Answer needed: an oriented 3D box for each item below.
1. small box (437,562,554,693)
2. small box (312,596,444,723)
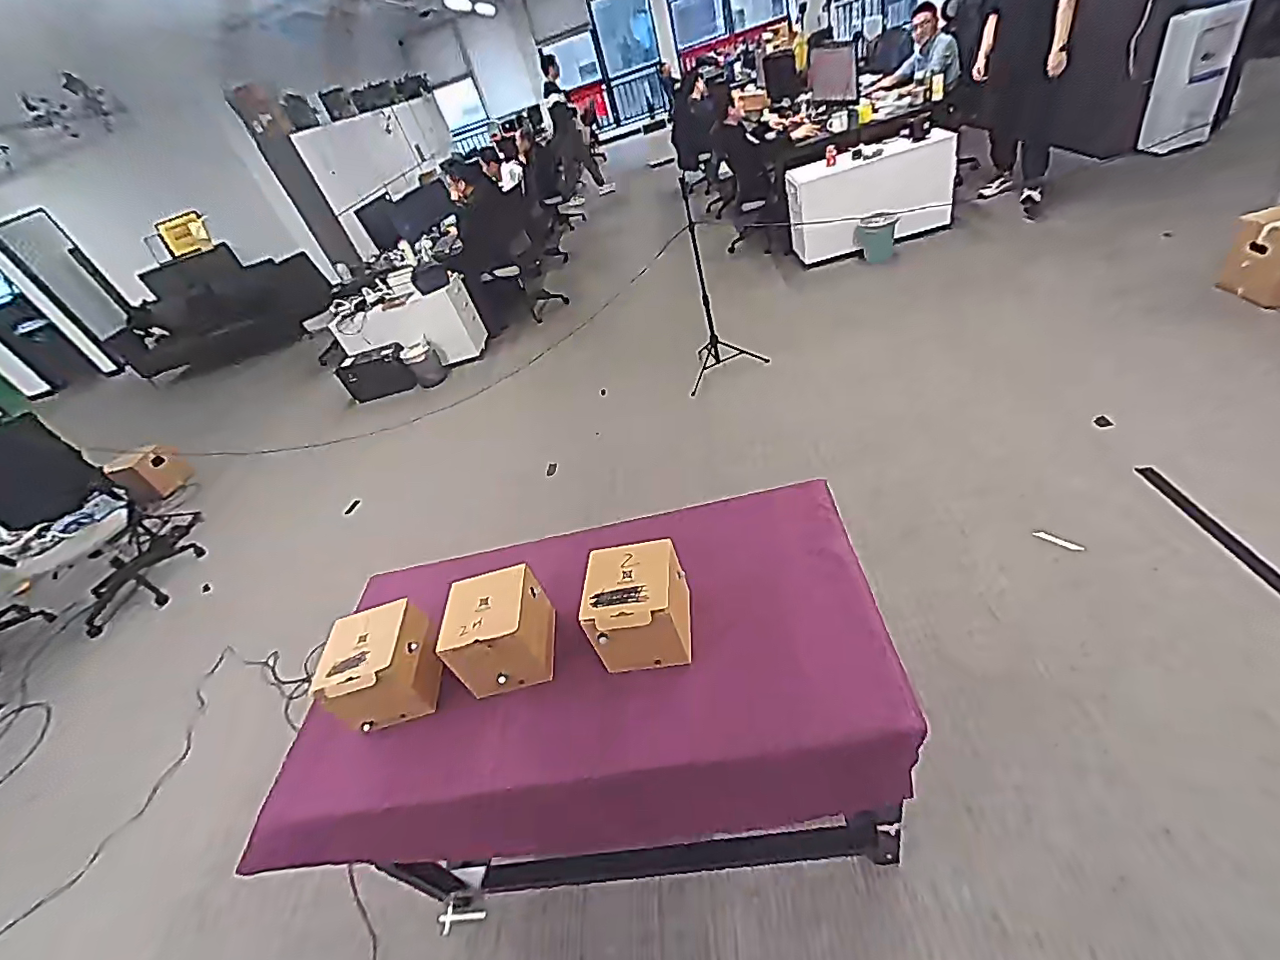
[{"bbox_3d":[-0.282,0.301,1.103,0.168,0.176,0.179,-16,38,6],"label":"small box"},{"bbox_3d":[-0.527,0.377,1.119,0.168,0.176,0.179,-17,37,3],"label":"small box"}]
